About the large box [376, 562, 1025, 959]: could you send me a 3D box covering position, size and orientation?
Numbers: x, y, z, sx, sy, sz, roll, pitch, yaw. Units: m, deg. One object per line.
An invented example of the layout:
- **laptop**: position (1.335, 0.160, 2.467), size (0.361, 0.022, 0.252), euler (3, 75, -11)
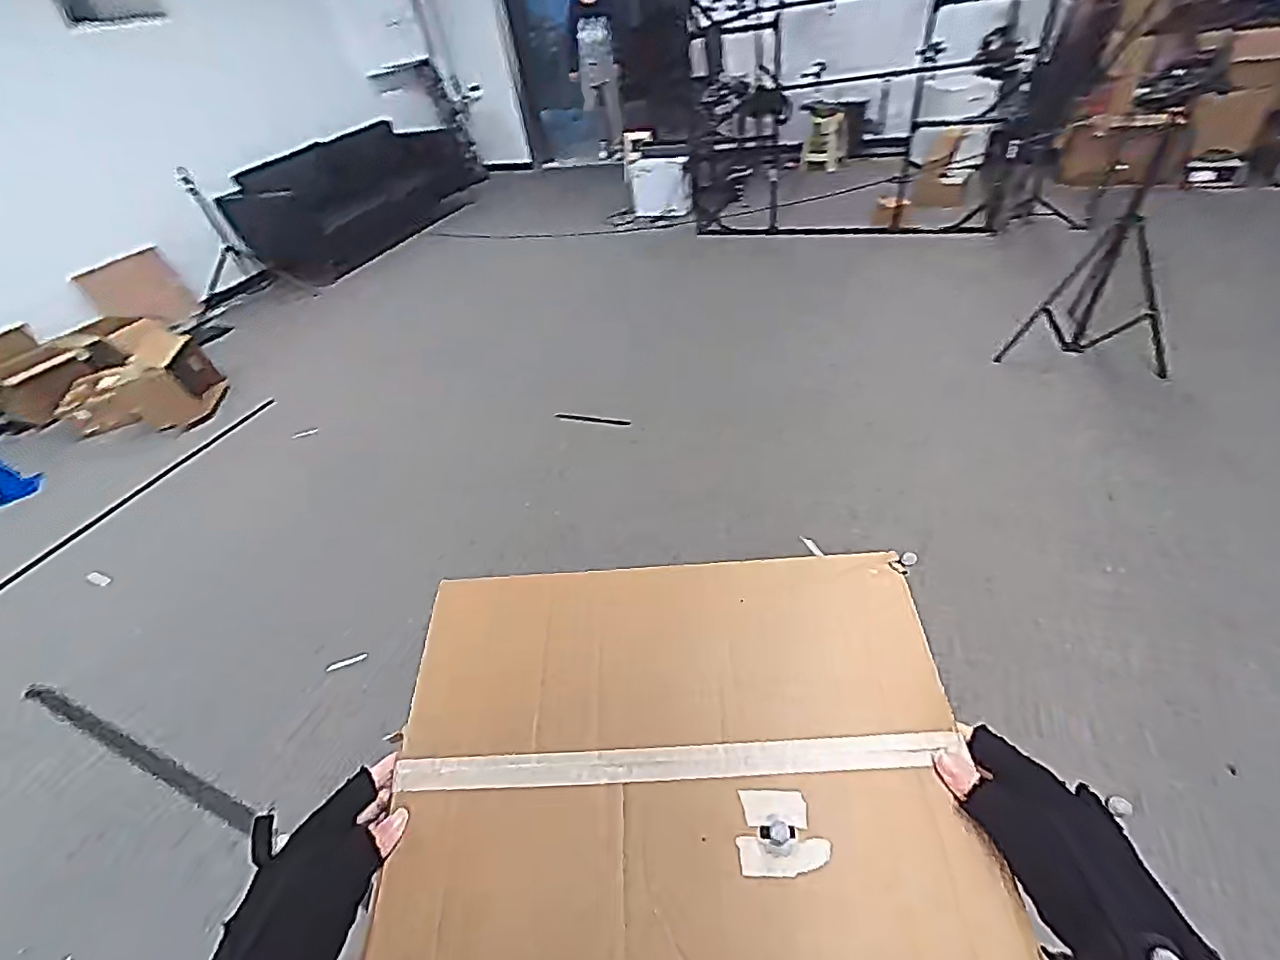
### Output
- **large box**: position (0.035, 0.302, 0.513), size (0.408, 0.320, 0.320), euler (-5, 53, 2)
